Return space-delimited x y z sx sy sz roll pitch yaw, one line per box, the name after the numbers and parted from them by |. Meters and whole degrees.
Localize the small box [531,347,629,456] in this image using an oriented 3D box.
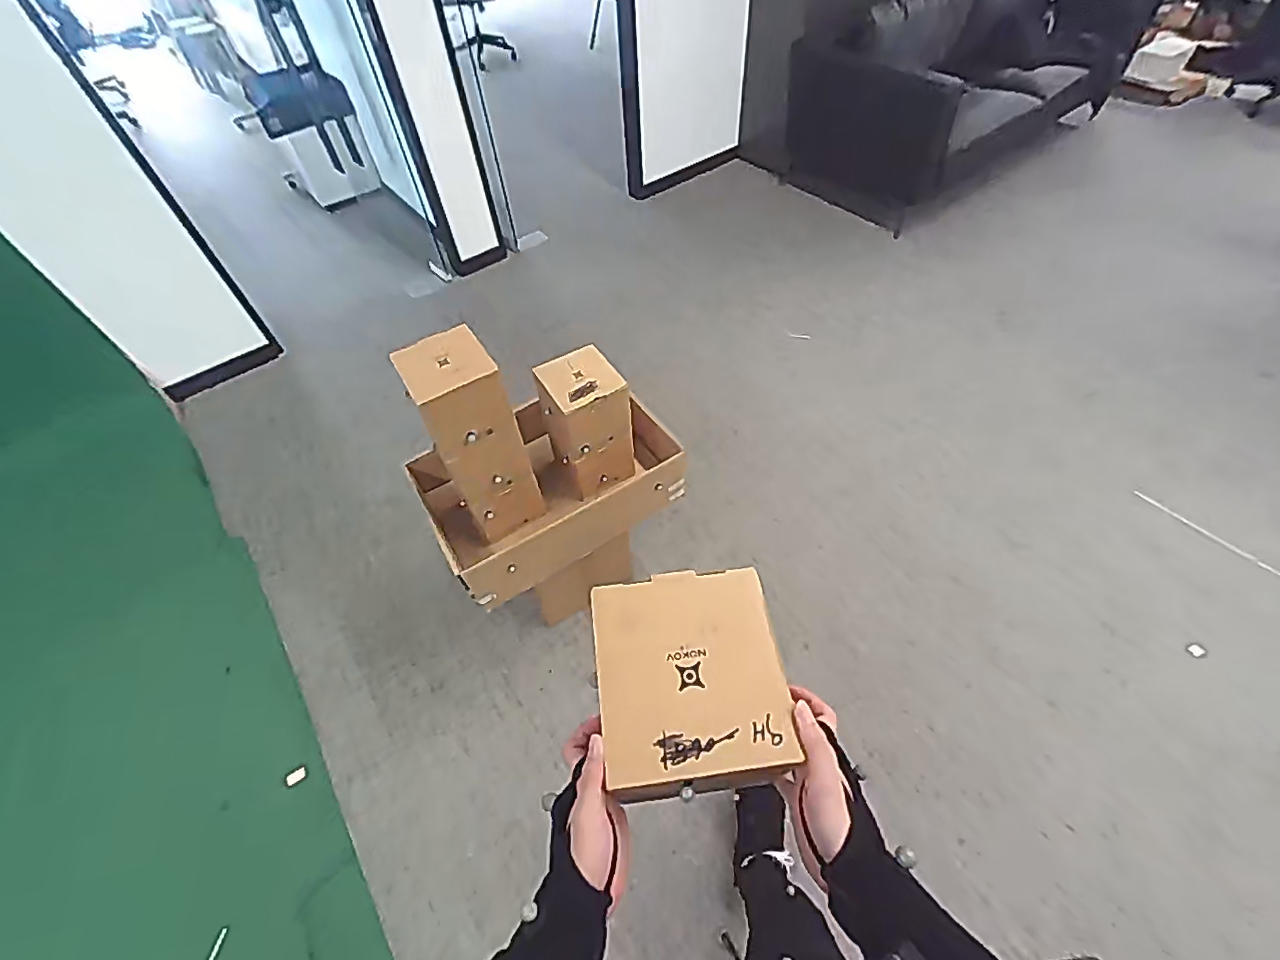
-0.138 -0.180 1.299 0.168 0.176 0.179 -27 55 -16 | small box

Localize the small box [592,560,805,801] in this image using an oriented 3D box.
0.044 0.203 0.539 0.168 0.176 0.179 -7 55 -3 | small box

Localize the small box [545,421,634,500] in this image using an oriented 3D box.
-0.130 -0.079 1.429 0.168 0.176 0.179 -28 57 -17 | small box

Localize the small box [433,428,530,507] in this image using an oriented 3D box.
-0.371 -0.073 1.229 0.168 0.176 0.179 -29 56 -17 | small box

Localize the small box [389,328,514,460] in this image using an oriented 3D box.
-0.378 -0.173 1.101 0.168 0.176 0.179 -28 56 -16 | small box
